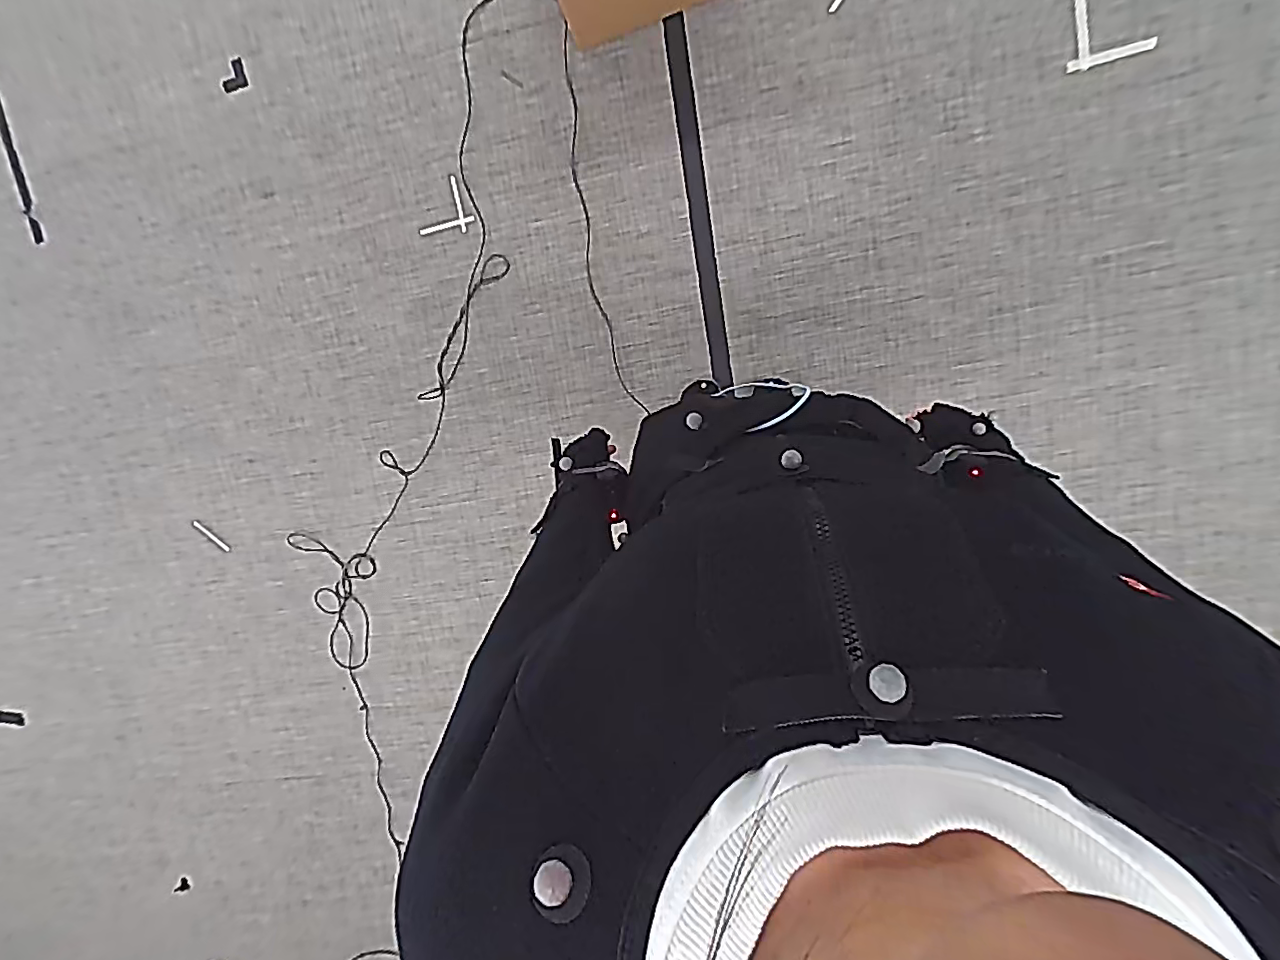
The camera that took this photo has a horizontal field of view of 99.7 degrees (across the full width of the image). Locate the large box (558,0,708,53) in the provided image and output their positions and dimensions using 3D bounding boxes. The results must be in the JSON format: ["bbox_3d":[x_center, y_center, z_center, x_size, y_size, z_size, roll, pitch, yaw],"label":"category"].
[{"bbox_3d":[-0.020,-1.185,1.098,0.408,0.320,0.320,-15,100,8],"label":"large box"}]
